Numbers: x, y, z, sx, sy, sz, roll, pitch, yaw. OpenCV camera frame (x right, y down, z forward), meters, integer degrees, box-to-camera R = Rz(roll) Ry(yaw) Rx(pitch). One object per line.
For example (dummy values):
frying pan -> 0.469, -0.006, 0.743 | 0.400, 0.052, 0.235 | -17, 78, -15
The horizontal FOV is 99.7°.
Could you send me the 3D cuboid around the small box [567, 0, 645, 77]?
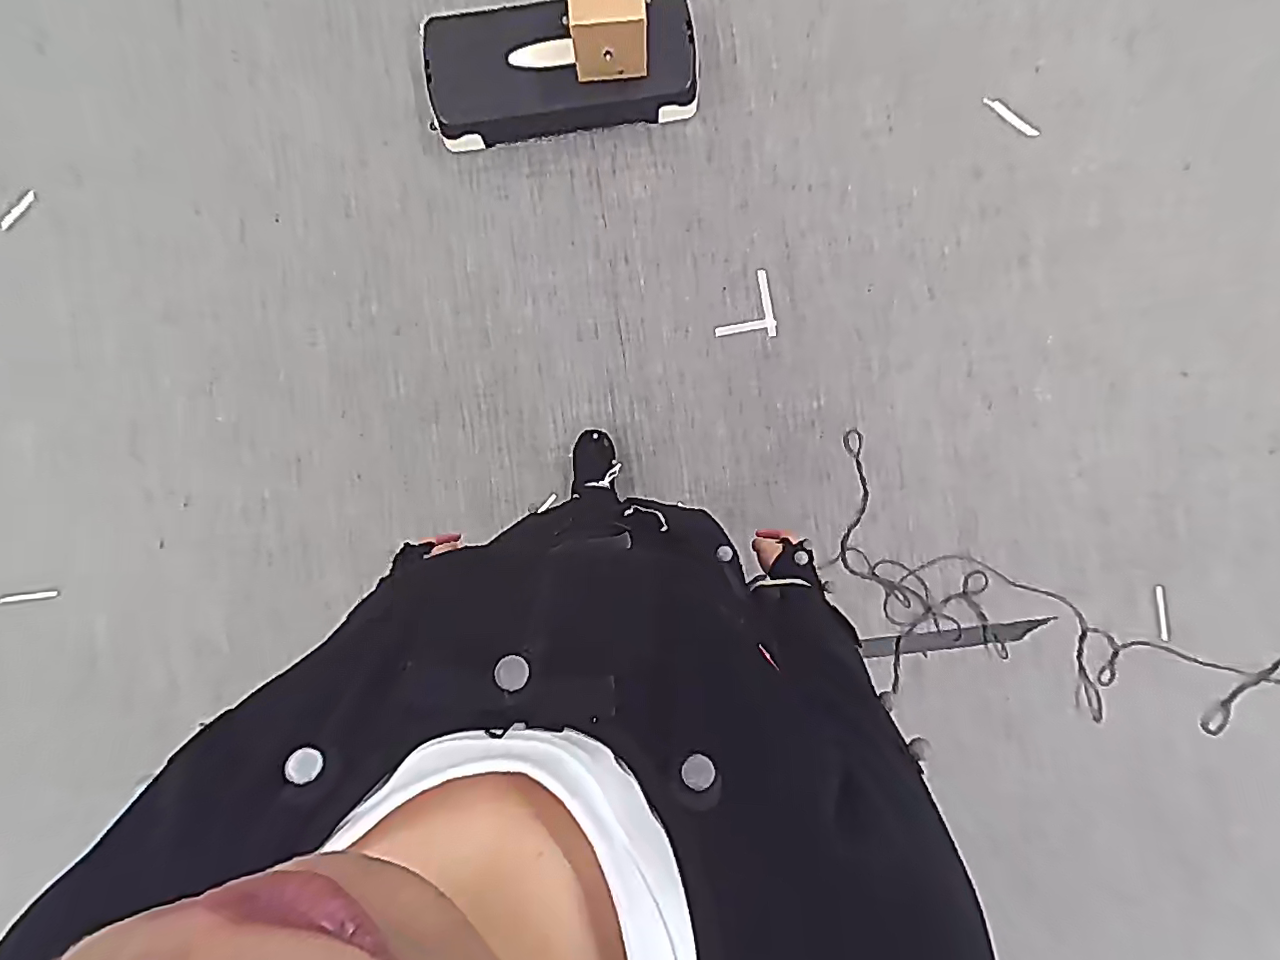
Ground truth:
small box -> -0.074, -1.052, 1.224 | 0.168, 0.176, 0.179 | -4, 90, 0
